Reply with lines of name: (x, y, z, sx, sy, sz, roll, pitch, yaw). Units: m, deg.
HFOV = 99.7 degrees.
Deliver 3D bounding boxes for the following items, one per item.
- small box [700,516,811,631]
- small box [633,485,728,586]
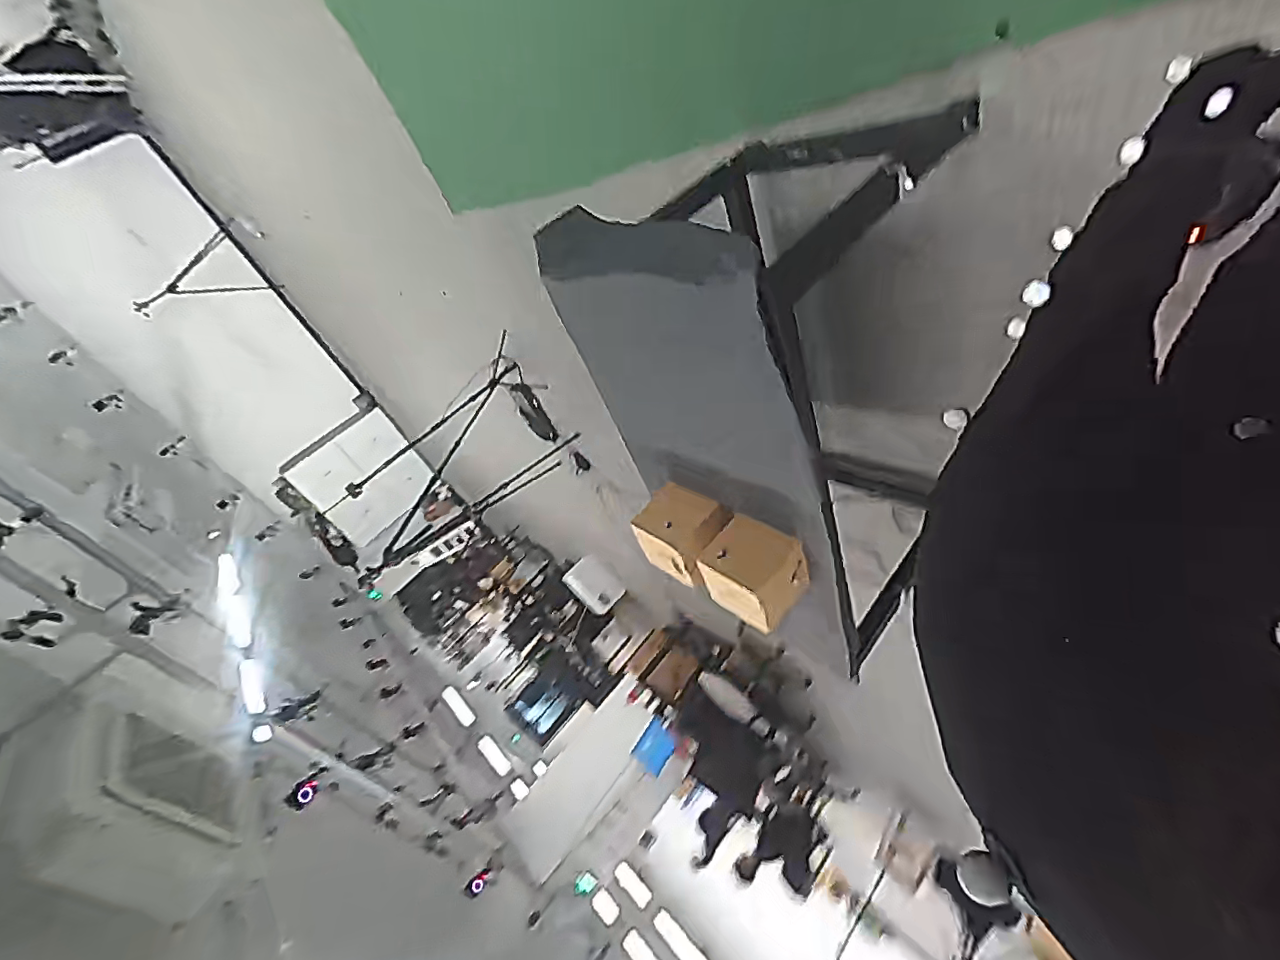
small box: (0.272, 0.210, 1.262, 0.179, 0.176, 0.168, 25, 151, 42)
small box: (0.117, 0.138, 1.415, 0.179, 0.176, 0.168, 24, 150, 42)
